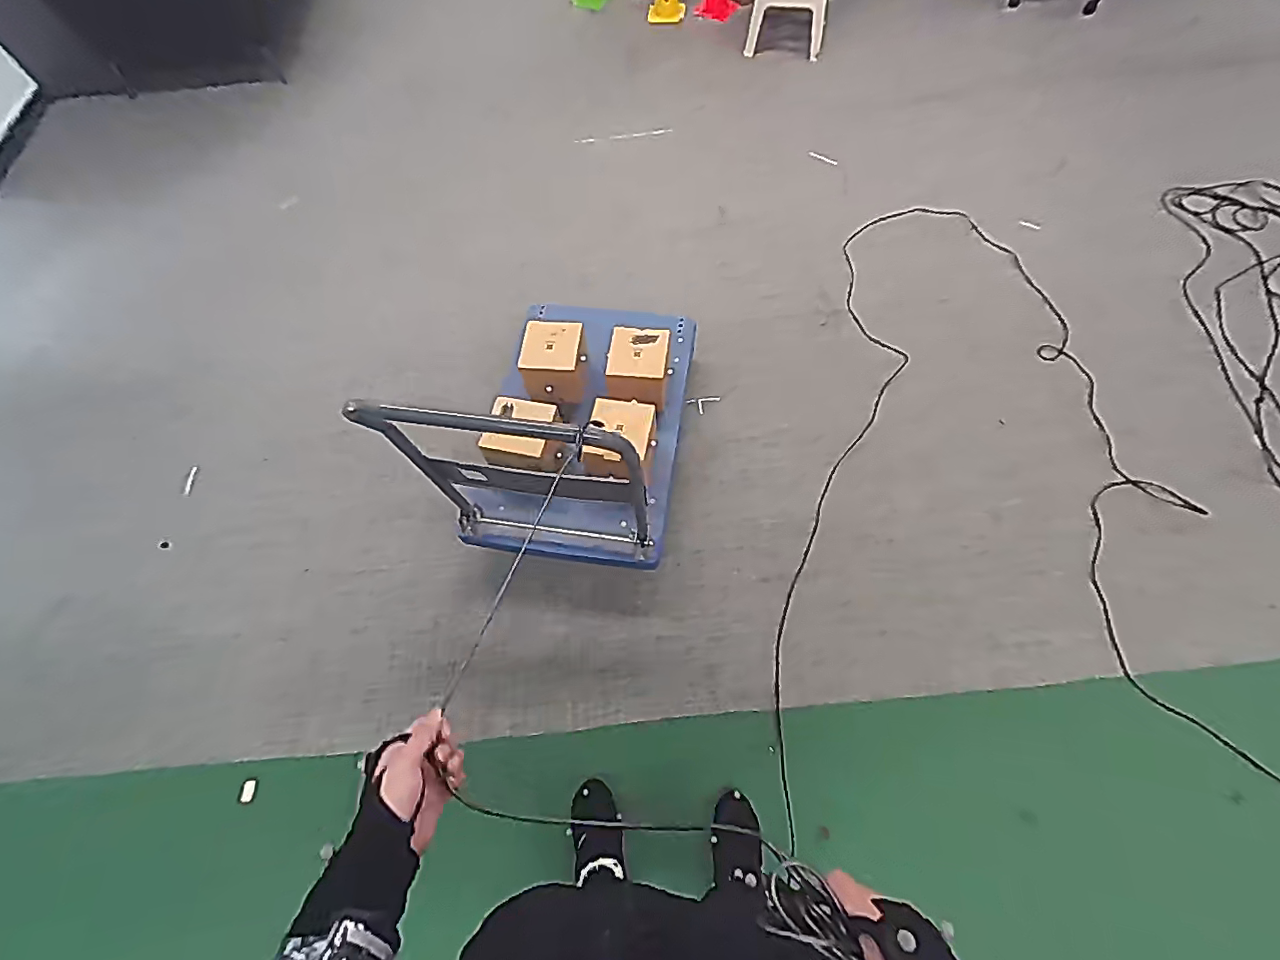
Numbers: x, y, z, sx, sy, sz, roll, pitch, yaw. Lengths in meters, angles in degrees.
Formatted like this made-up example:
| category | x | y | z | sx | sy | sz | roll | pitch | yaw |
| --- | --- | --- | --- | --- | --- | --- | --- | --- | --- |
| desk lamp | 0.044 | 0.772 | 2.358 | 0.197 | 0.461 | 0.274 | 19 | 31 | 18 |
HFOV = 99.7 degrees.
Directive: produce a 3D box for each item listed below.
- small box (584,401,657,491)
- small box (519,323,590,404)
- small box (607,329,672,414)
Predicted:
| category | x | y | z | sx | sy | sz | roll | pitch | yaw |
| --- | --- | --- | --- | --- | --- | --- | --- | --- | --- |
| small box | -0.048 | -0.092 | 1.493 | 0.168 | 0.176 | 0.179 | 9 | 66 | 7 |
| small box | -0.250 | -0.348 | 1.628 | 0.168 | 0.176 | 0.179 | 5 | 64 | 5 |
| small box | 0.004 | -0.320 | 1.600 | 0.168 | 0.176 | 0.179 | 6 | 65 | 7 |
